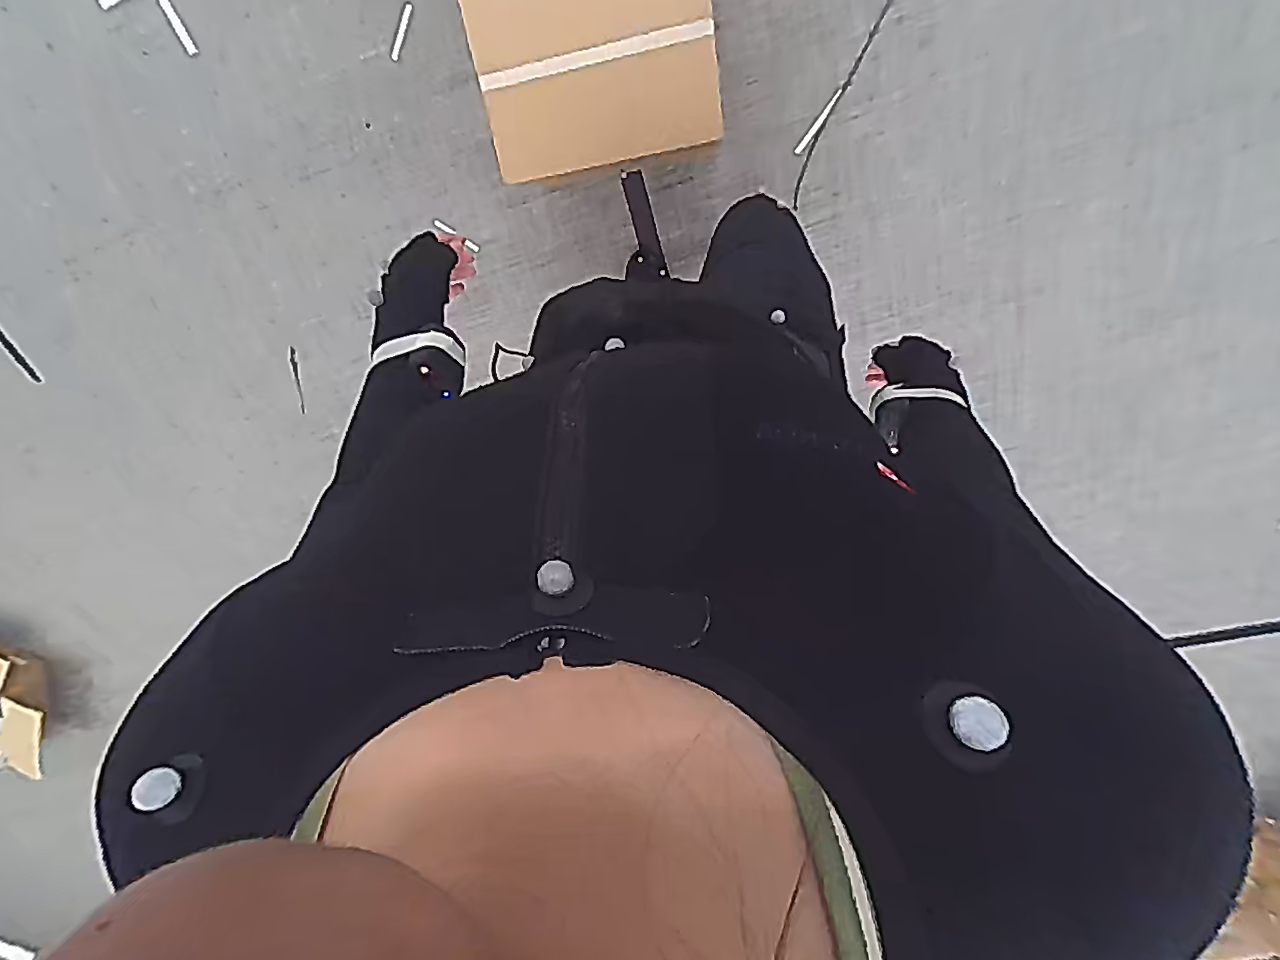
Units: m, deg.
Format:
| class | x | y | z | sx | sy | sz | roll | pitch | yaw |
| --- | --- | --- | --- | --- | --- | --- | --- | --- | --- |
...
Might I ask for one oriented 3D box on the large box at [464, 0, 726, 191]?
| class | x | y | z | sx | sy | sz | roll | pitch | yaw |
| --- | --- | --- | --- | --- | --- | --- | --- | --- | --- |
| large box | -0.060 | -0.768 | 1.034 | 0.408 | 0.320 | 0.320 | -7 | 117 | 9 |
